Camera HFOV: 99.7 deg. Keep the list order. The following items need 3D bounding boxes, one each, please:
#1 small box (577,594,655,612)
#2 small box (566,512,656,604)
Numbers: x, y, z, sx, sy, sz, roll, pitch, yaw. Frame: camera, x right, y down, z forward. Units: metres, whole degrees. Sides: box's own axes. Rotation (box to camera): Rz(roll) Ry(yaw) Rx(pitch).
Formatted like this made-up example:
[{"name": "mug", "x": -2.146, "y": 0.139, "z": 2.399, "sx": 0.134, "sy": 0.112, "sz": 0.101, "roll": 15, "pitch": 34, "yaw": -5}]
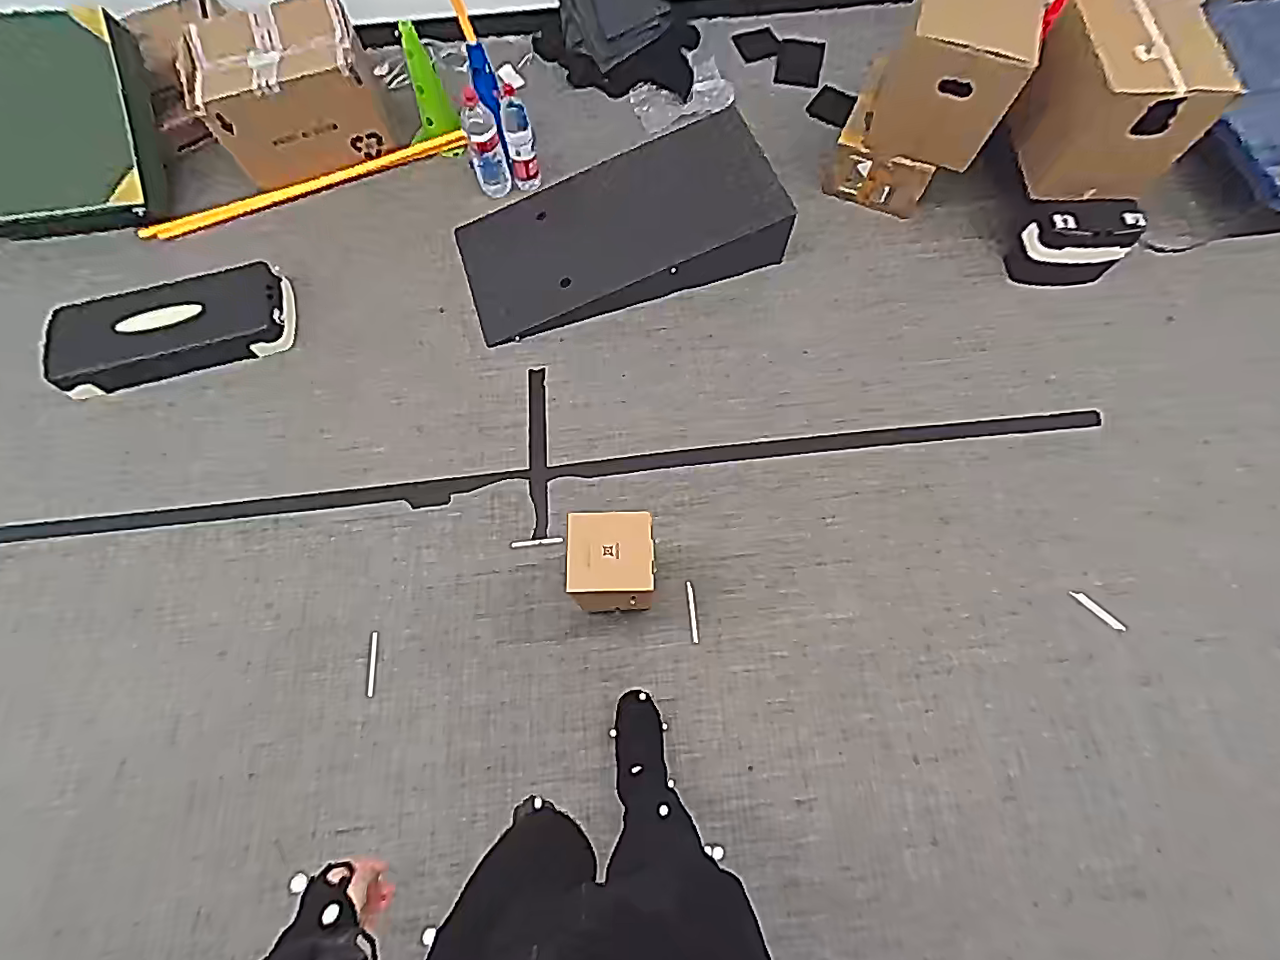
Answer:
[{"name": "small box", "x": -0.059, "y": 0.224, "z": 1.307, "sx": 0.179, "sy": 0.176, "sz": 0.168, "roll": -3, "pitch": 70, "yaw": -1}, {"name": "small box", "x": -0.056, "y": 0.169, "z": 1.153, "sx": 0.179, "sy": 0.176, "sz": 0.168, "roll": -1, "pitch": 69, "yaw": 1}]
